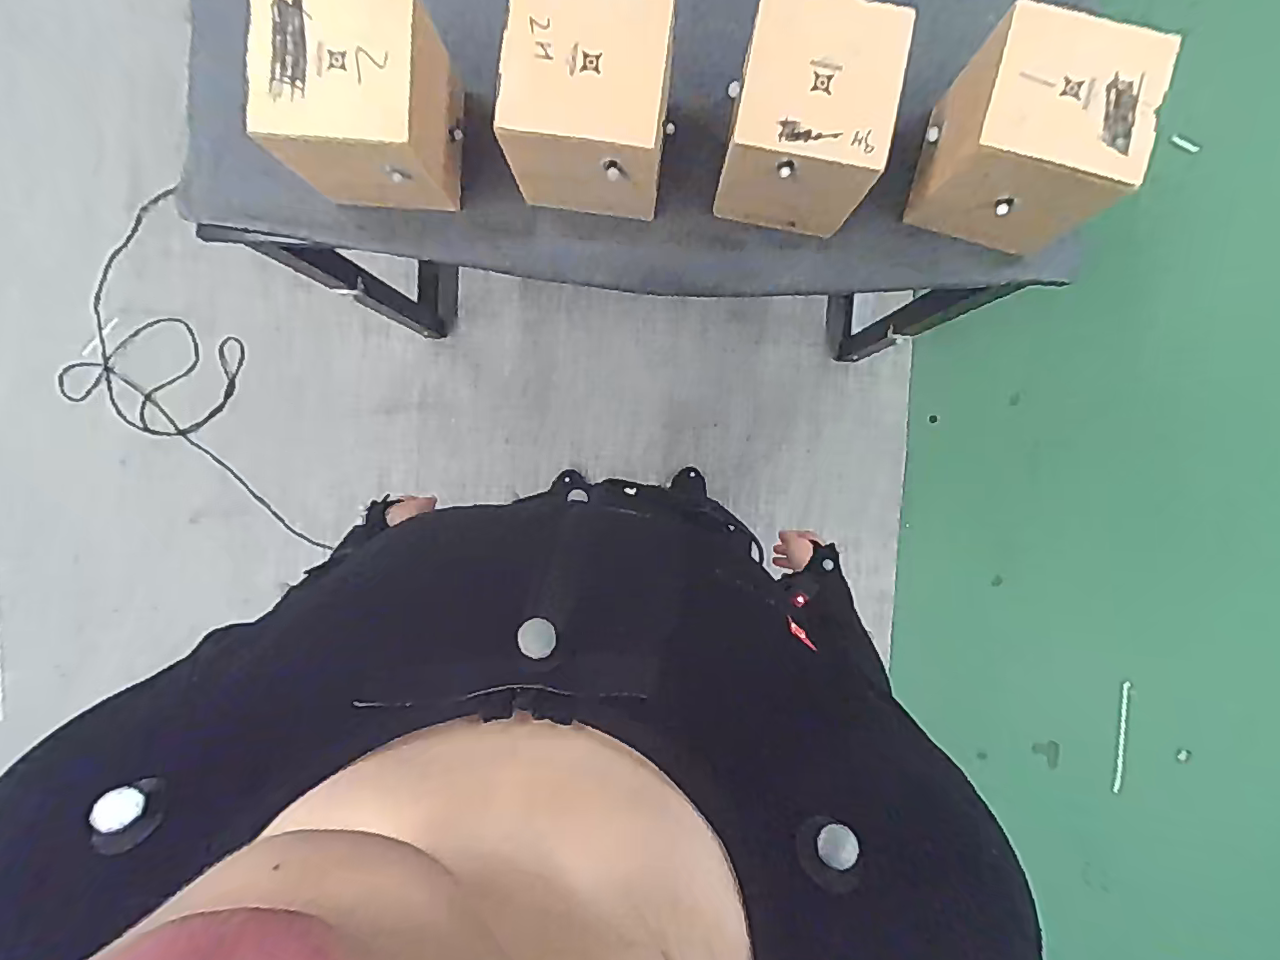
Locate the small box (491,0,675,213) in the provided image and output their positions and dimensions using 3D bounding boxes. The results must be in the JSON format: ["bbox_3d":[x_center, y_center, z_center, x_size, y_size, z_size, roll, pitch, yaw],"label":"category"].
[{"bbox_3d":[-0.058,-0.443,0.646,0.179,0.176,0.168,8,91,1],"label":"small box"}]

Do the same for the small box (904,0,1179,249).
[{"bbox_3d":[0.452,-0.399,0.637,0.179,0.176,0.168,16,89,1],"label":"small box"}]

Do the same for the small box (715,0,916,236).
[{"bbox_3d":[0.192,-0.426,0.644,0.168,0.176,0.179,12,91,0],"label":"small box"}]
